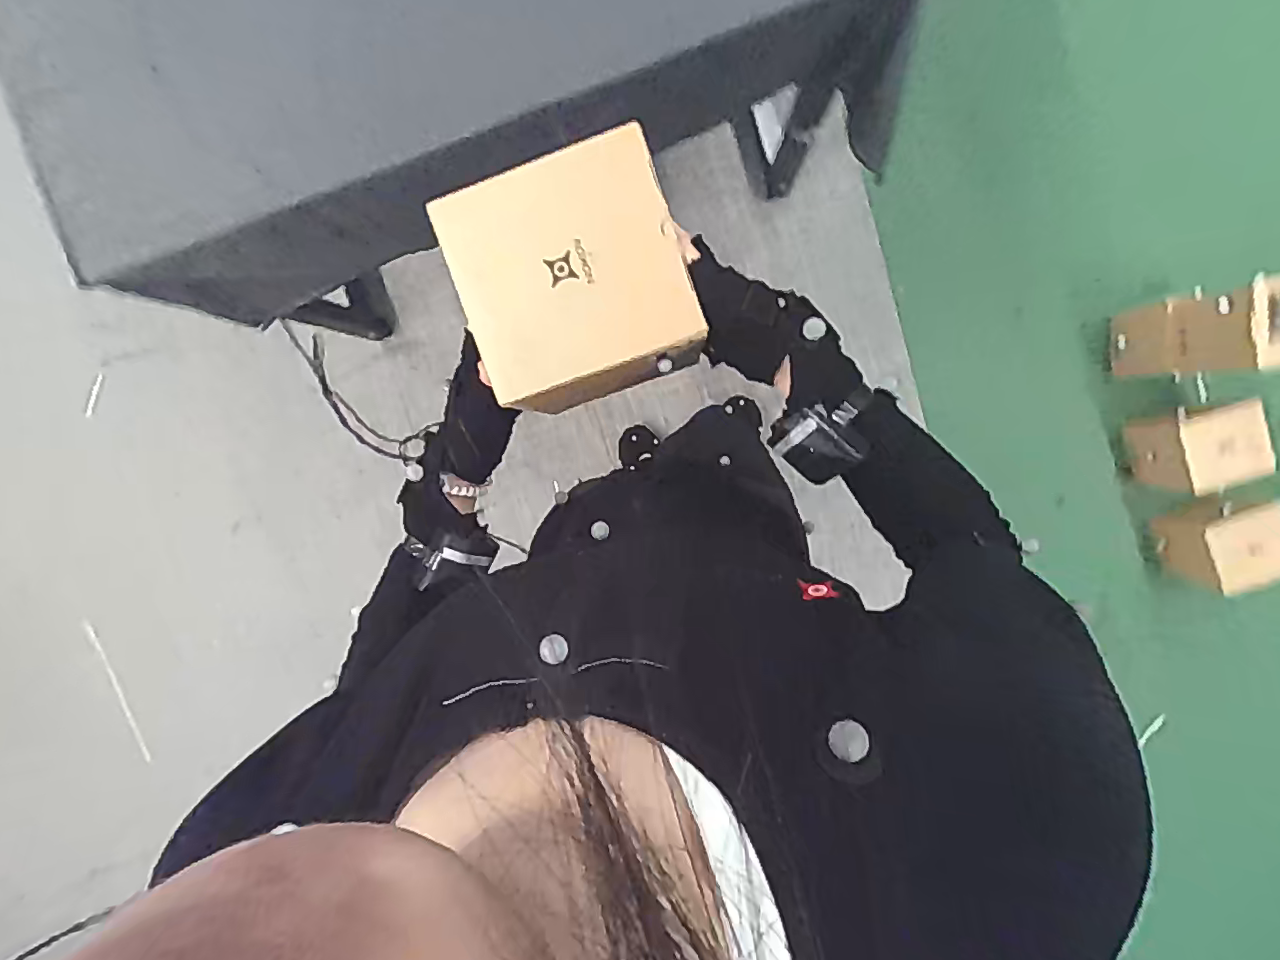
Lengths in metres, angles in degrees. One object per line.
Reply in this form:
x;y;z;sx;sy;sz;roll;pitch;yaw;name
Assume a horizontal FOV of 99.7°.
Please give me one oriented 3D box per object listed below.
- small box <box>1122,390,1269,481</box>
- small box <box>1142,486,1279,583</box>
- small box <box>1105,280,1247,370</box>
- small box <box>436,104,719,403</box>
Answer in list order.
1.309;-0.107;1.293;0.179;0.176;0.168;-20;96;5;small box
1.399;0.124;1.317;0.179;0.176;0.168;-23;95;6;small box
1.247;-0.356;1.268;0.179;0.176;0.168;-7;96;6;small box
-0.043;-0.174;0.478;0.179;0.176;0.168;-19;93;3;small box
